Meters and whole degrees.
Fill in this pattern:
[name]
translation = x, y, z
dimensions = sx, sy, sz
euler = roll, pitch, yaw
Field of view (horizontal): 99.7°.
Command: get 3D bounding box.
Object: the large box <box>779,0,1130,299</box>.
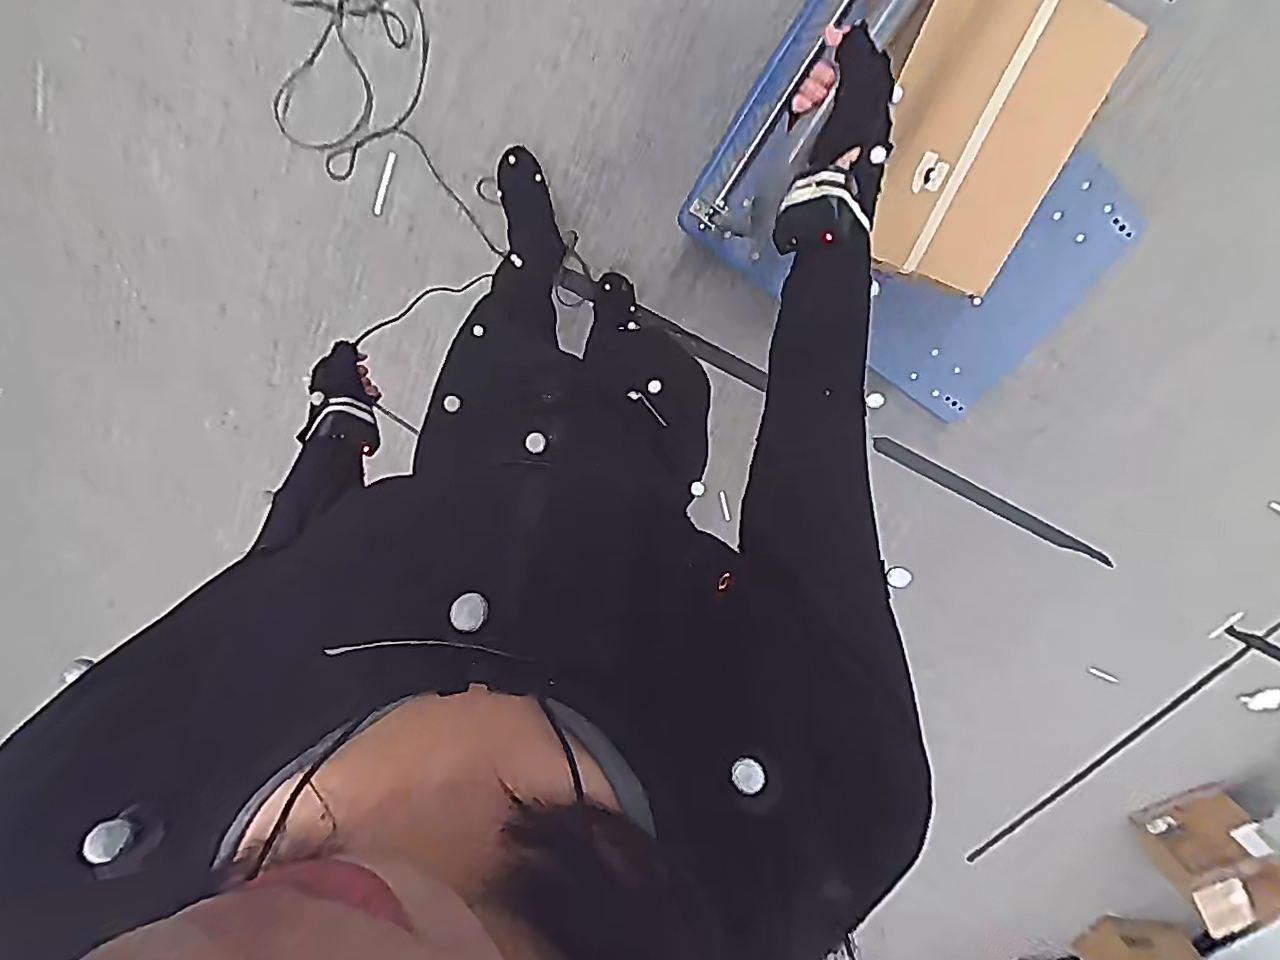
[large box]
translation = 0.505, -0.595, 0.971
dimensions = 0.320, 0.320, 0.408
euler = 16, 116, -10
